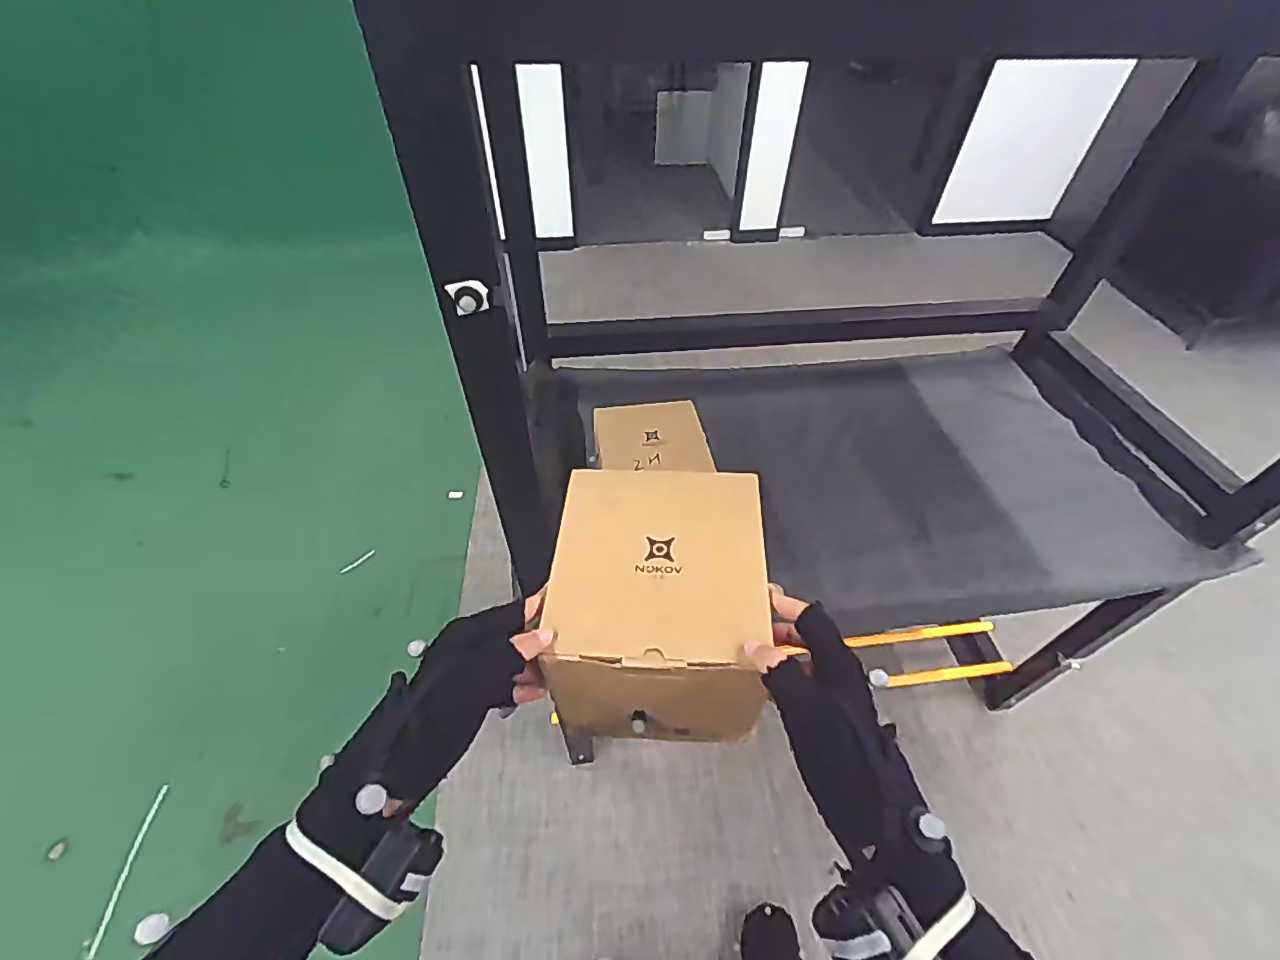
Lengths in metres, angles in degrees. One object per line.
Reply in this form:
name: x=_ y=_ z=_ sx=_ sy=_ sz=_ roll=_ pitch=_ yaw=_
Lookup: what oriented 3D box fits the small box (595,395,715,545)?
small box: x=0.015 y=-0.017 z=0.887 sx=0.168 sy=0.176 sz=0.179 roll=-6 pitch=49 yaw=-6
